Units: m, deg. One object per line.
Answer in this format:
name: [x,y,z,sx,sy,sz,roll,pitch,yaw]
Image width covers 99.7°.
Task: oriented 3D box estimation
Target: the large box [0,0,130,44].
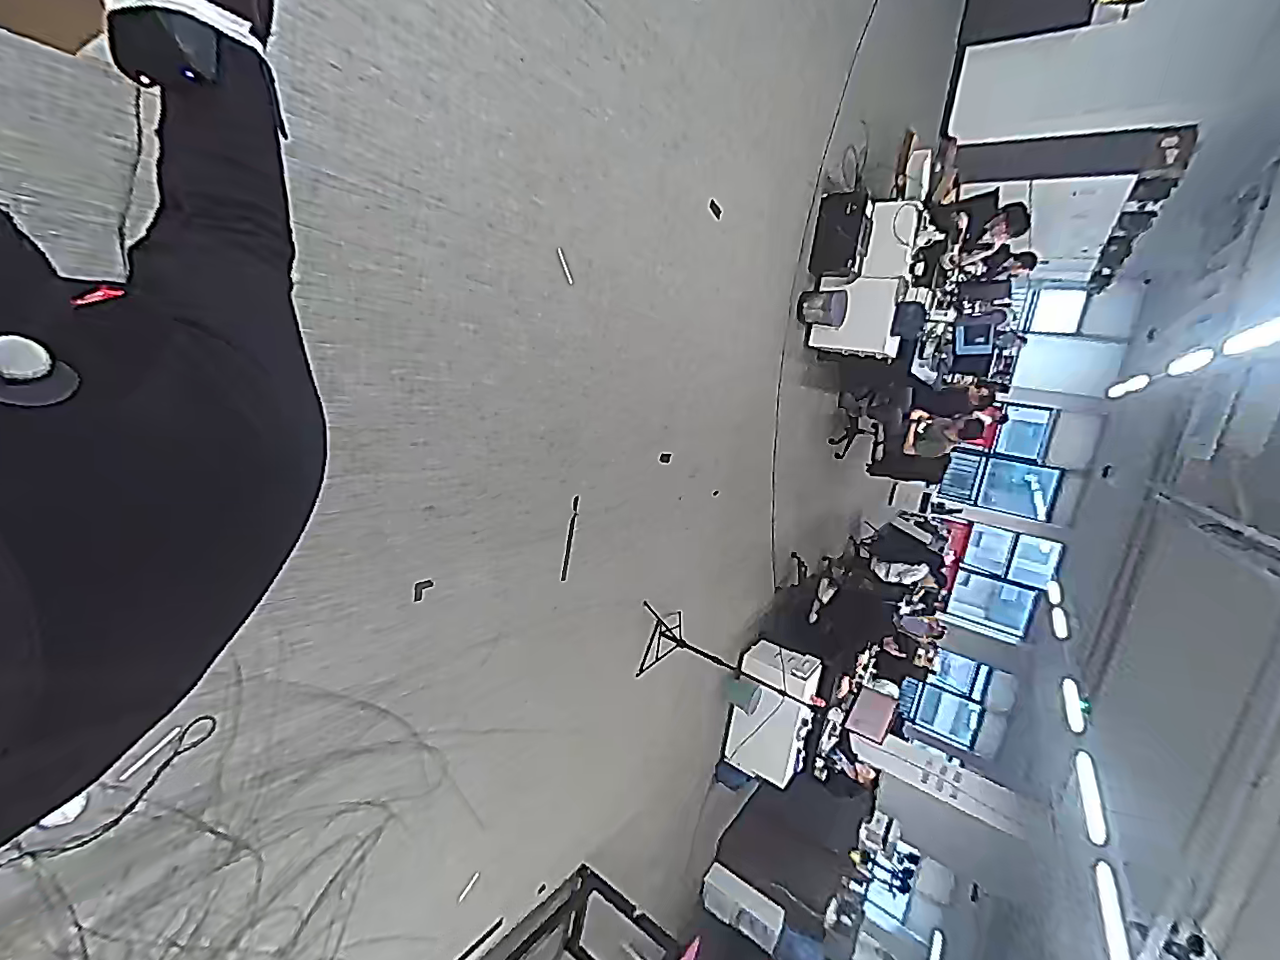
large box: [-0.536,-0.509,0.259,0.408,0.320,0.320,-9,114,-54]
